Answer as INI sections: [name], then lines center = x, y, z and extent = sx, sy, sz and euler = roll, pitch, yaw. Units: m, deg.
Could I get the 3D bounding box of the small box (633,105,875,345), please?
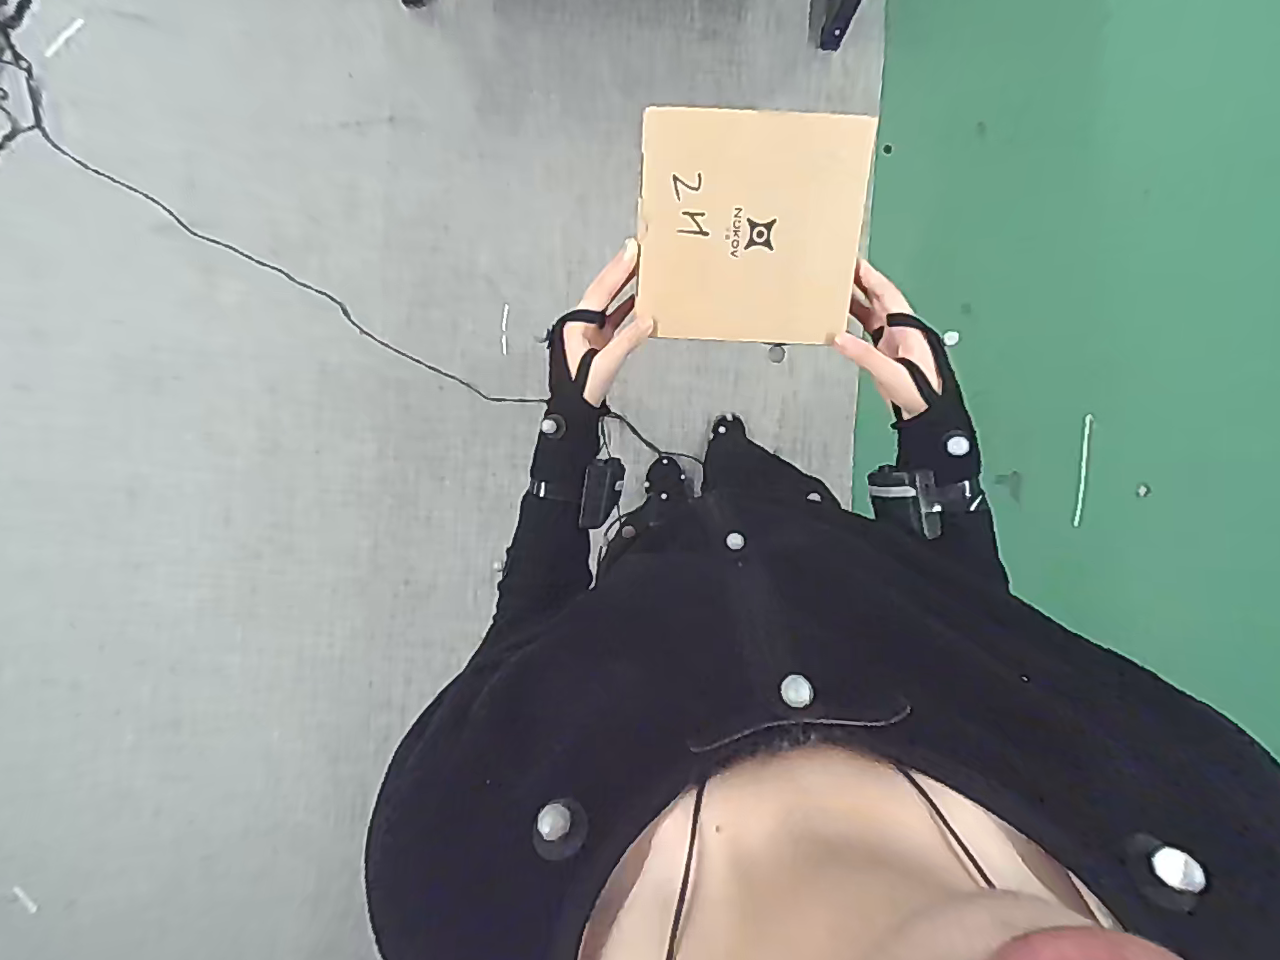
[small box]
center = 0.085, -0.216, 0.498
extent = 0.179, 0.176, 0.168
euler = 3, 105, 0
